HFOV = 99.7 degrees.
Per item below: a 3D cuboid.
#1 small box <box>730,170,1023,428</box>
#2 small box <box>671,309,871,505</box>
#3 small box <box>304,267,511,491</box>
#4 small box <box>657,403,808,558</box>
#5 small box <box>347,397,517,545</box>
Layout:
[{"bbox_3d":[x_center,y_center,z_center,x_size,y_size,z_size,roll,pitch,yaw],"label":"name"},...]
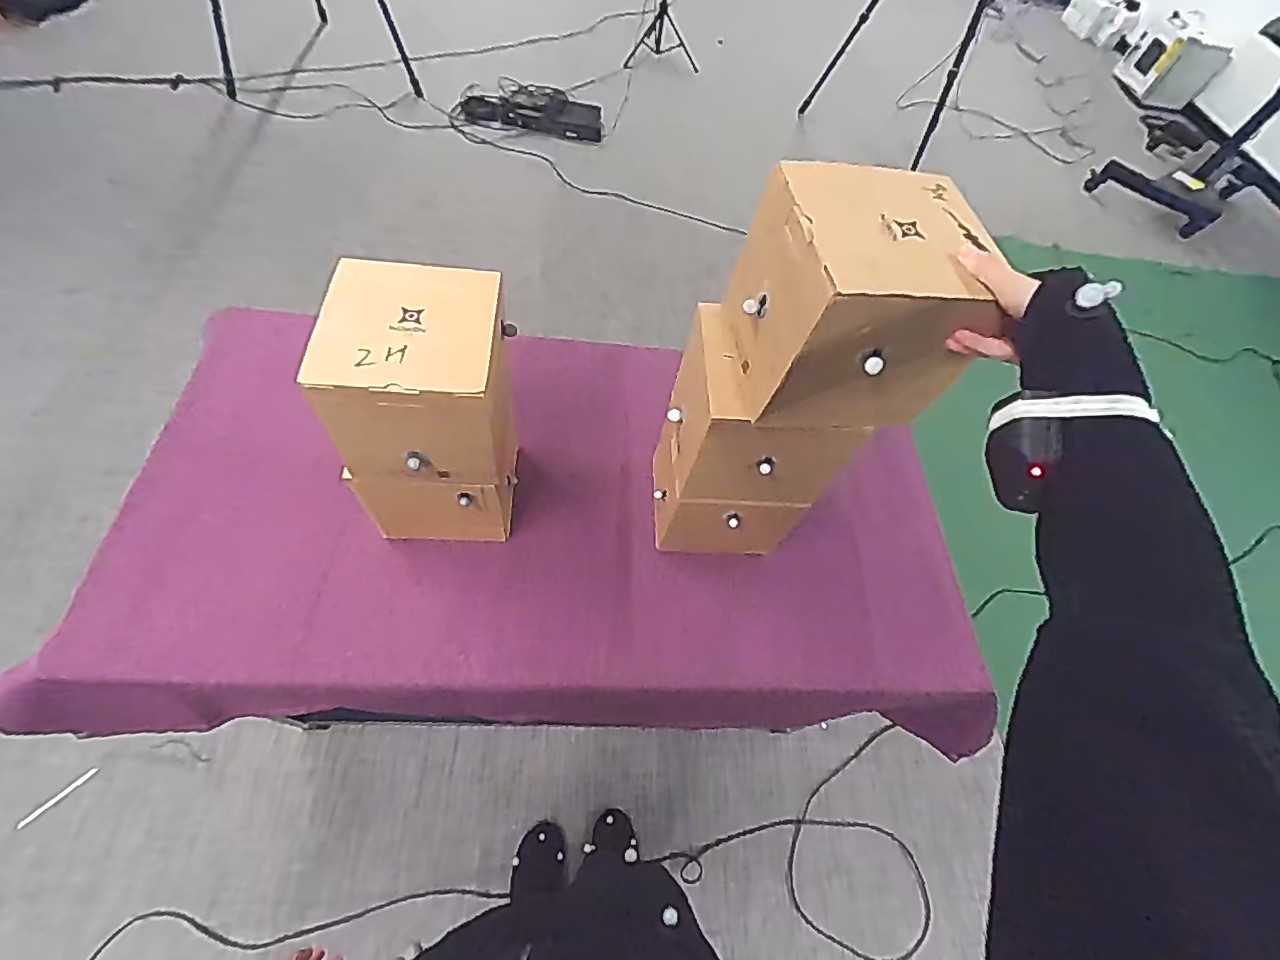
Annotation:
[{"bbox_3d":[0.195,-0.161,0.514,0.179,0.176,0.168,-2,61,-12],"label":"small box"},{"bbox_3d":[0.141,-0.079,0.652,0.179,0.176,0.168,2,59,-7],"label":"small box"},{"bbox_3d":[-0.239,-0.107,0.609,0.168,0.176,0.179,2,58,-8],"label":"small box"},{"bbox_3d":[0.119,0.007,0.790,0.179,0.176,0.168,4,59,-7],"label":"small box"},{"bbox_3d":[-0.269,-0.019,0.746,0.179,0.176,0.168,2,58,-9],"label":"small box"}]
